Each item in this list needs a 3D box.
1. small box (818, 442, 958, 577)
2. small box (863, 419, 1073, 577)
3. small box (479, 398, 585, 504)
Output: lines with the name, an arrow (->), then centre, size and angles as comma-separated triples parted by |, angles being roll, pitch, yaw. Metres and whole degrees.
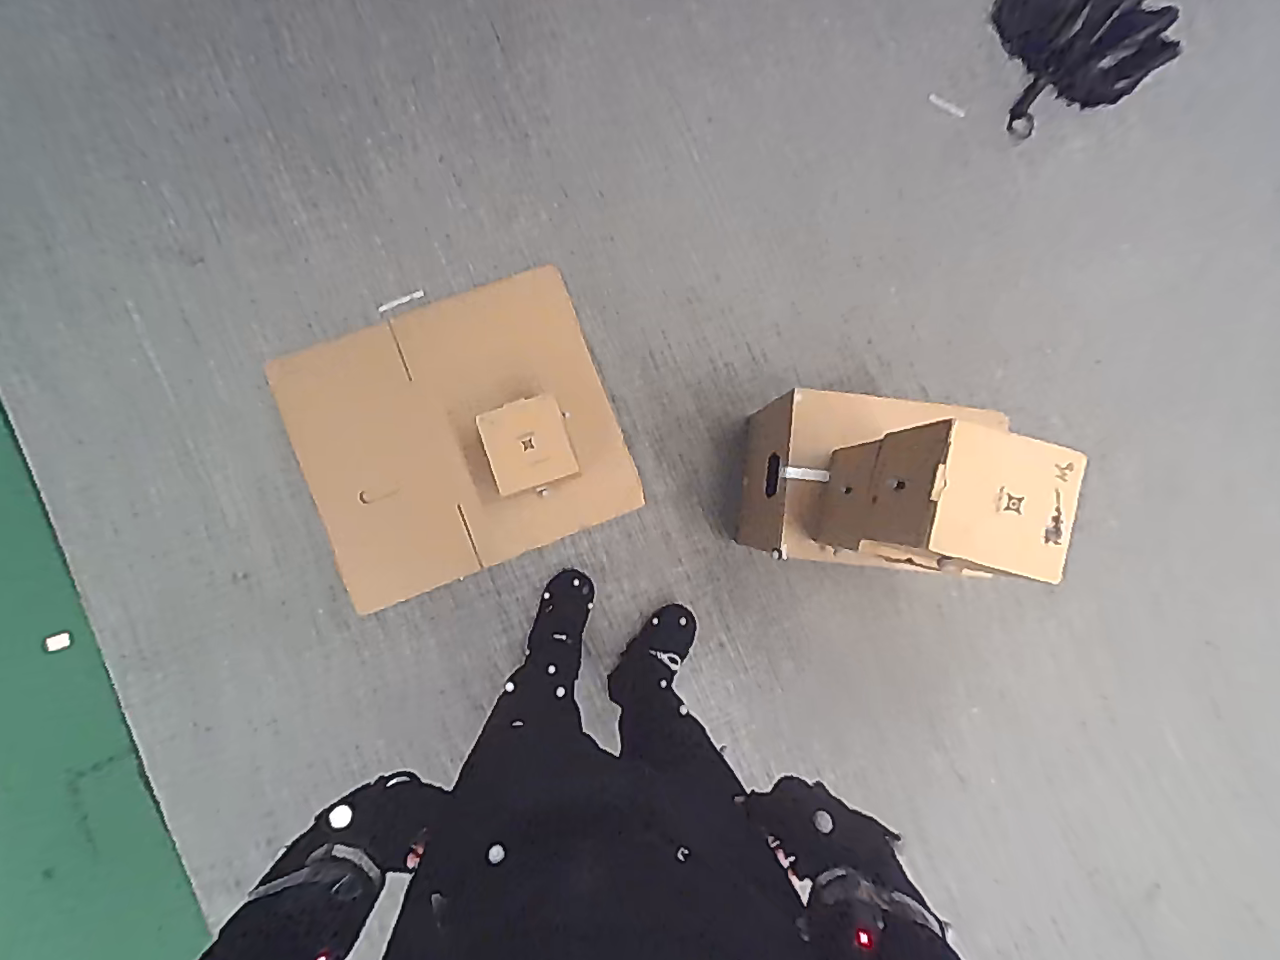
small box -> 0.412, 0.048, 0.893 | 0.168, 0.176, 0.179 | 13, 86, -3
small box -> 0.429, 0.029, 0.734 | 0.179, 0.176, 0.168 | 12, 85, -3
small box -> -0.224, -0.054, 1.159 | 0.168, 0.176, 0.179 | -20, 88, -3
